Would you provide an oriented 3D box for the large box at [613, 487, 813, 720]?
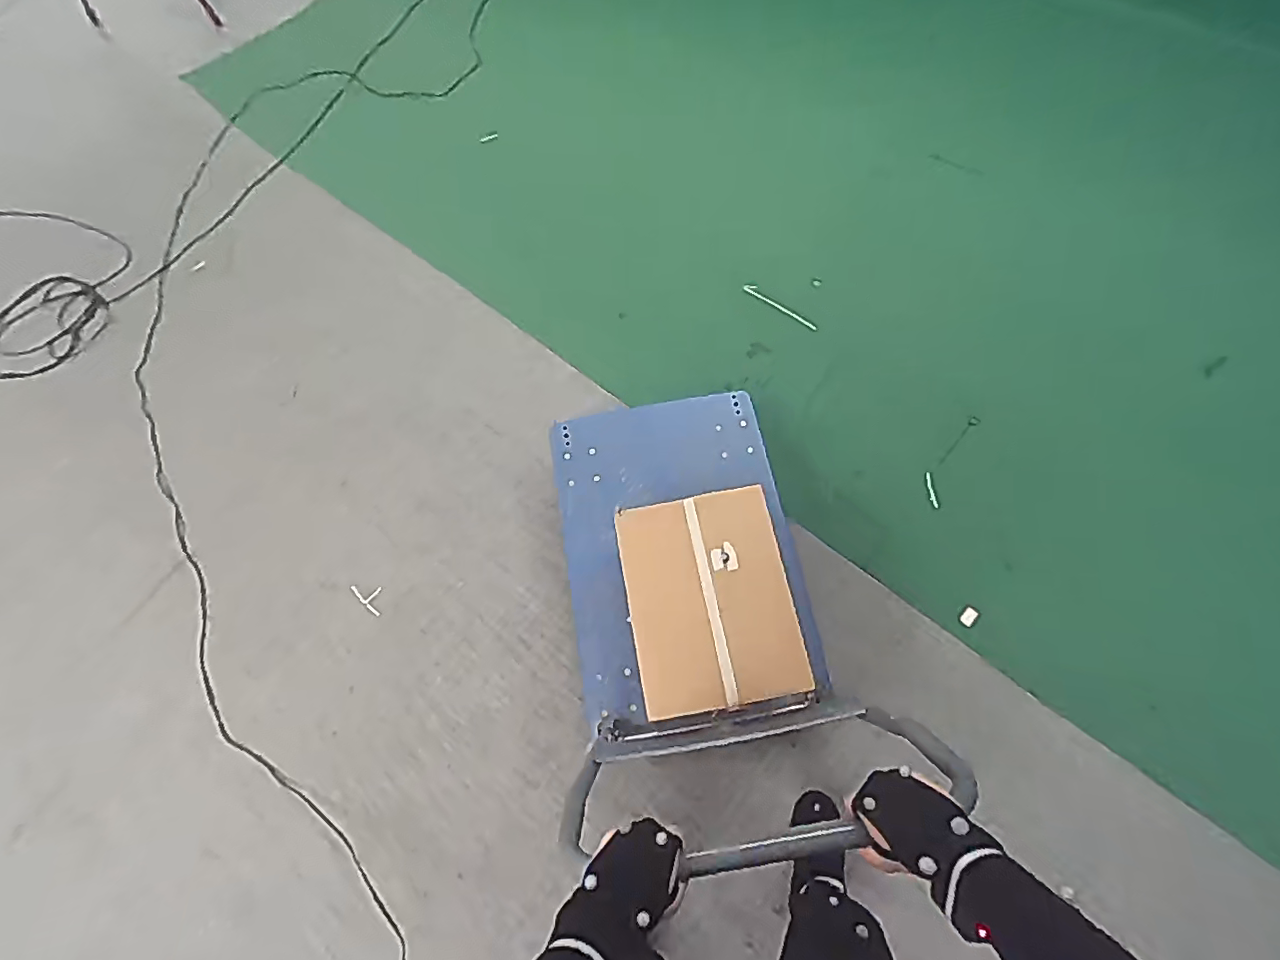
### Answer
[{"bbox_3d":[0.141,0.277,1.191,0.320,0.320,0.408,-11,70,-1],"label":"large box"}]
